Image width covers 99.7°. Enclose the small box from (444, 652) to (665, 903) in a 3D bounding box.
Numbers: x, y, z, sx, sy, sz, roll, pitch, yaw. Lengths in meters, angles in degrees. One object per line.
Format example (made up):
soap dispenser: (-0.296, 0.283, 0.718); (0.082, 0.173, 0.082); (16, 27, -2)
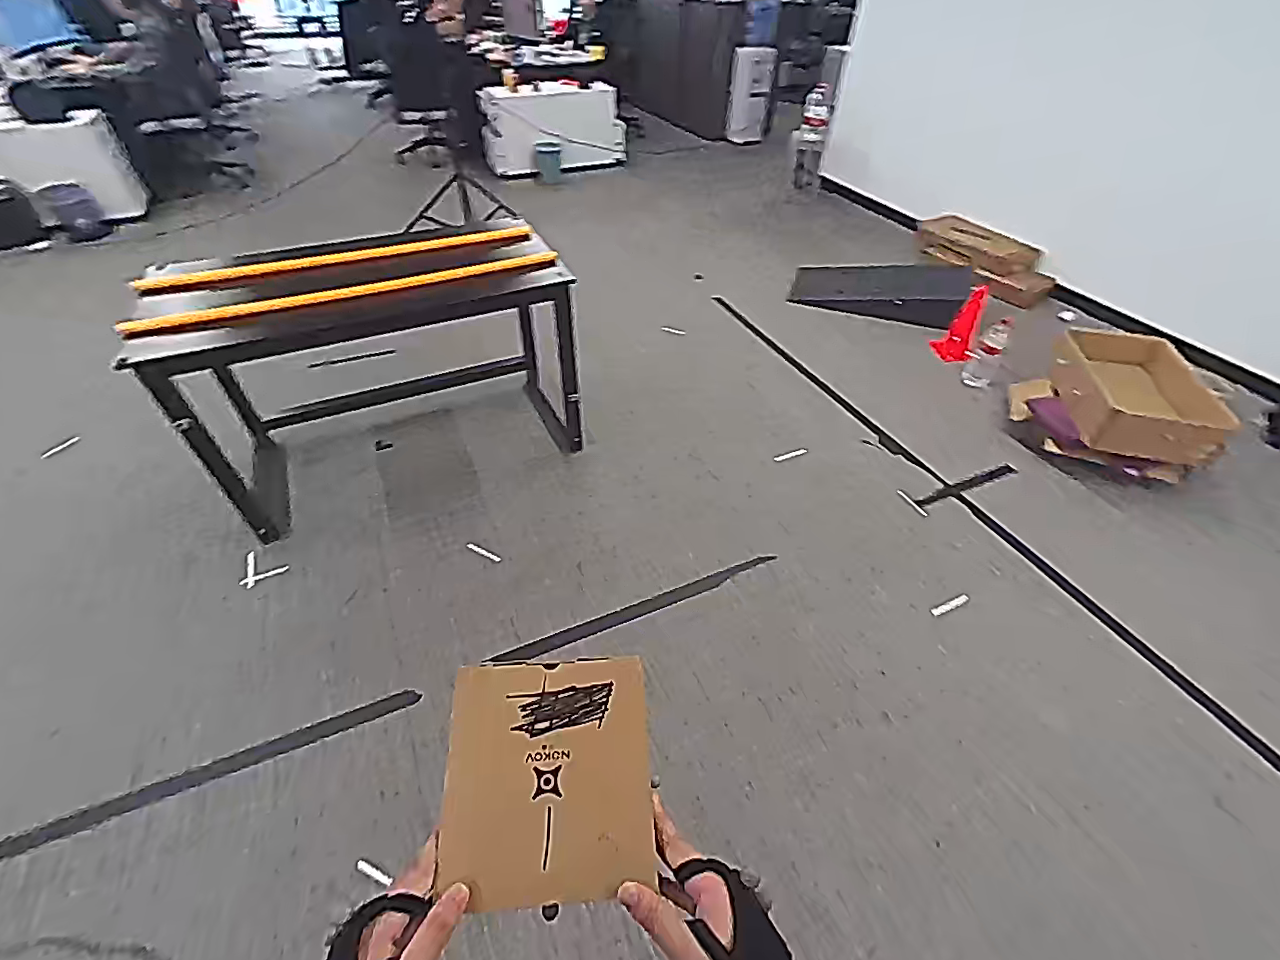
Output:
small box: (-0.074, 0.278, 0.511); (0.168, 0.176, 0.179); (-3, 56, -6)
